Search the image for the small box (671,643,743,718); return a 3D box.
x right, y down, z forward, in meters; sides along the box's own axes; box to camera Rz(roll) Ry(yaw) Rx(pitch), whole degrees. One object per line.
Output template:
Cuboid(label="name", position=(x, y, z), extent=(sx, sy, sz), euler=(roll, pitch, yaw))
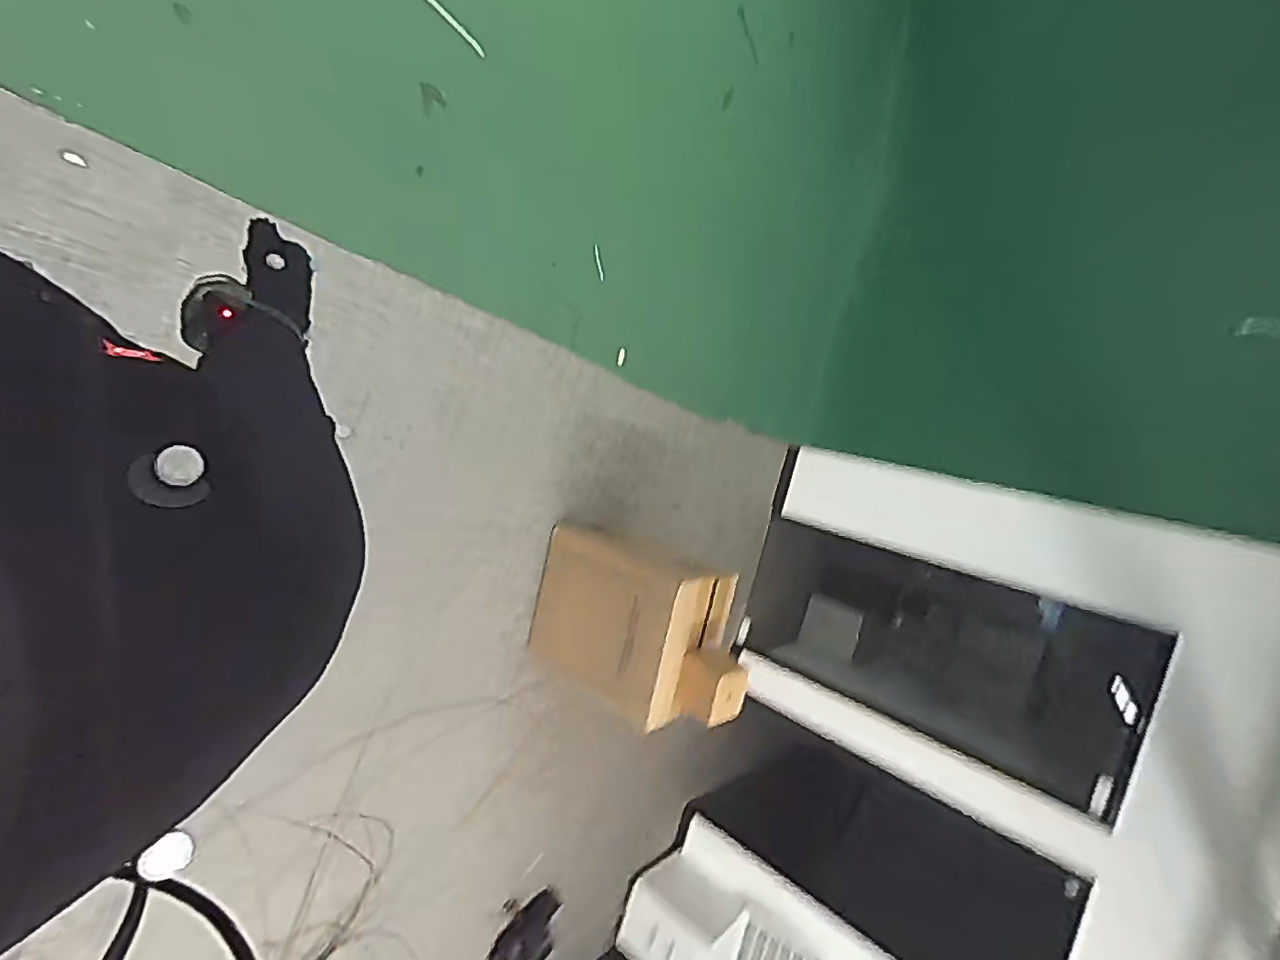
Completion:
Cuboid(label="small box", position=(0.228, 0.683, 1.871), extent=(0.168, 0.176, 0.179), euler=(2, 103, -42))
